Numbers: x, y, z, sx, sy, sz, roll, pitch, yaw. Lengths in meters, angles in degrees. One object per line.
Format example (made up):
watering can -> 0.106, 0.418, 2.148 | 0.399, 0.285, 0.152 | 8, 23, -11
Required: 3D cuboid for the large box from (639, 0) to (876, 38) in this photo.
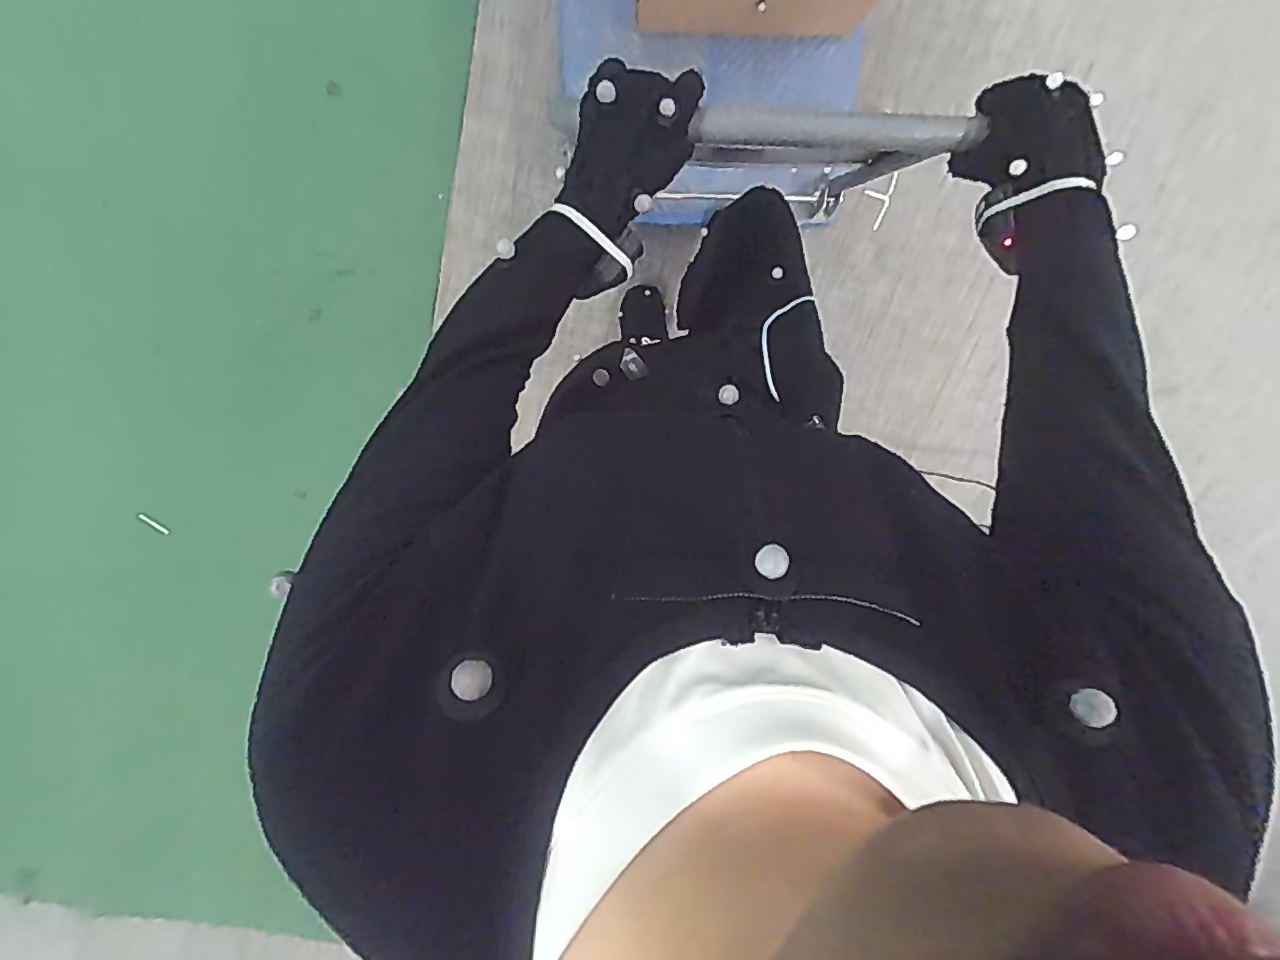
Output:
large box -> 0.200, -0.935, 0.840 | 0.408, 0.320, 0.320 | 0, 110, 0
